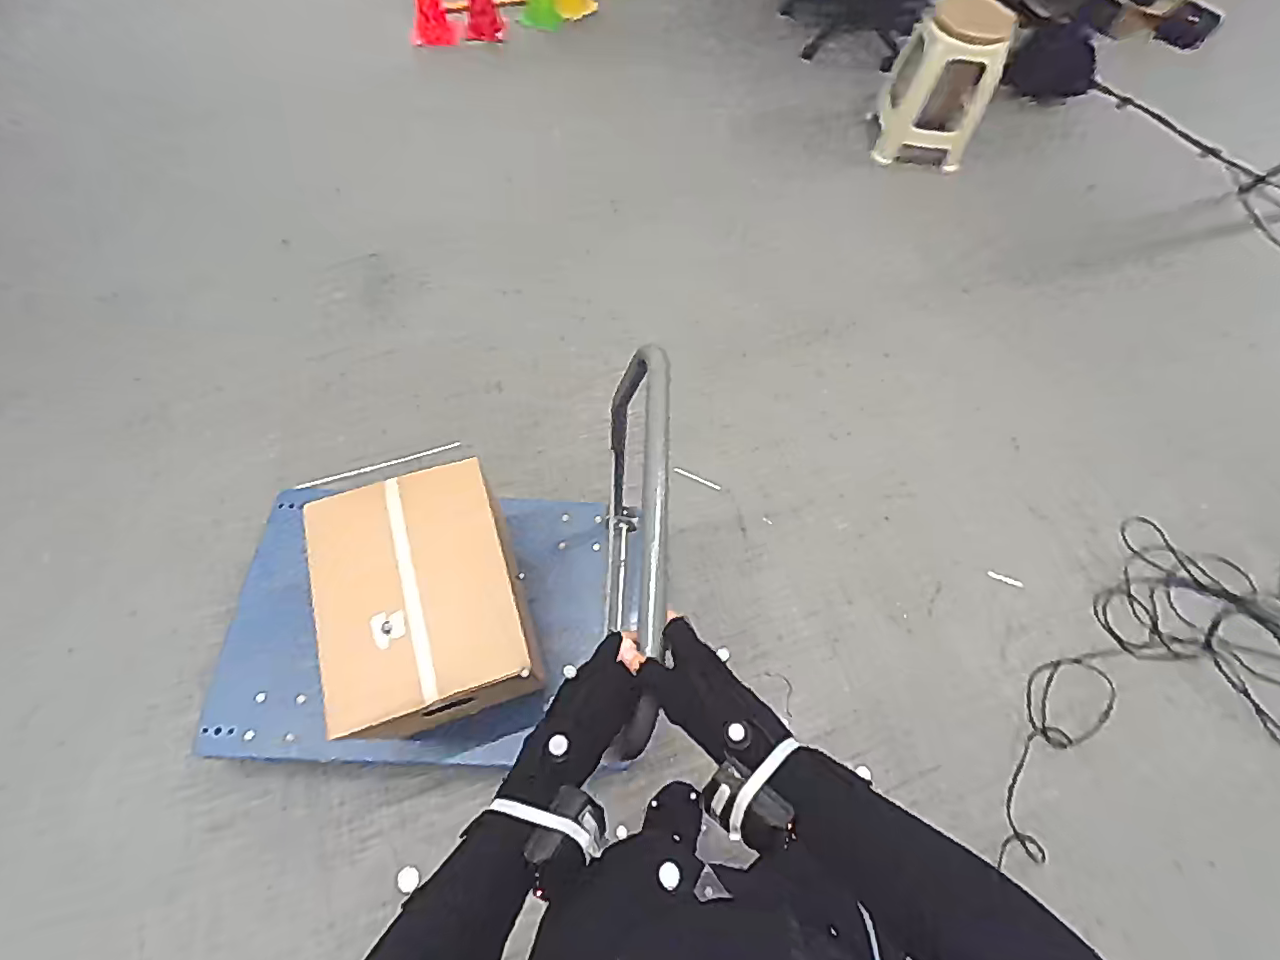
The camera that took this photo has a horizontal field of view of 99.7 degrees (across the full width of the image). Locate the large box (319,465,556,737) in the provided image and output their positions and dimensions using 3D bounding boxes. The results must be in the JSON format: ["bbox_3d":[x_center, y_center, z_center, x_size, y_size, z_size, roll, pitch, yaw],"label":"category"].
[{"bbox_3d":[-0.377,0.244,1.066,0.320,0.320,0.408,-18,68,-11],"label":"large box"}]
